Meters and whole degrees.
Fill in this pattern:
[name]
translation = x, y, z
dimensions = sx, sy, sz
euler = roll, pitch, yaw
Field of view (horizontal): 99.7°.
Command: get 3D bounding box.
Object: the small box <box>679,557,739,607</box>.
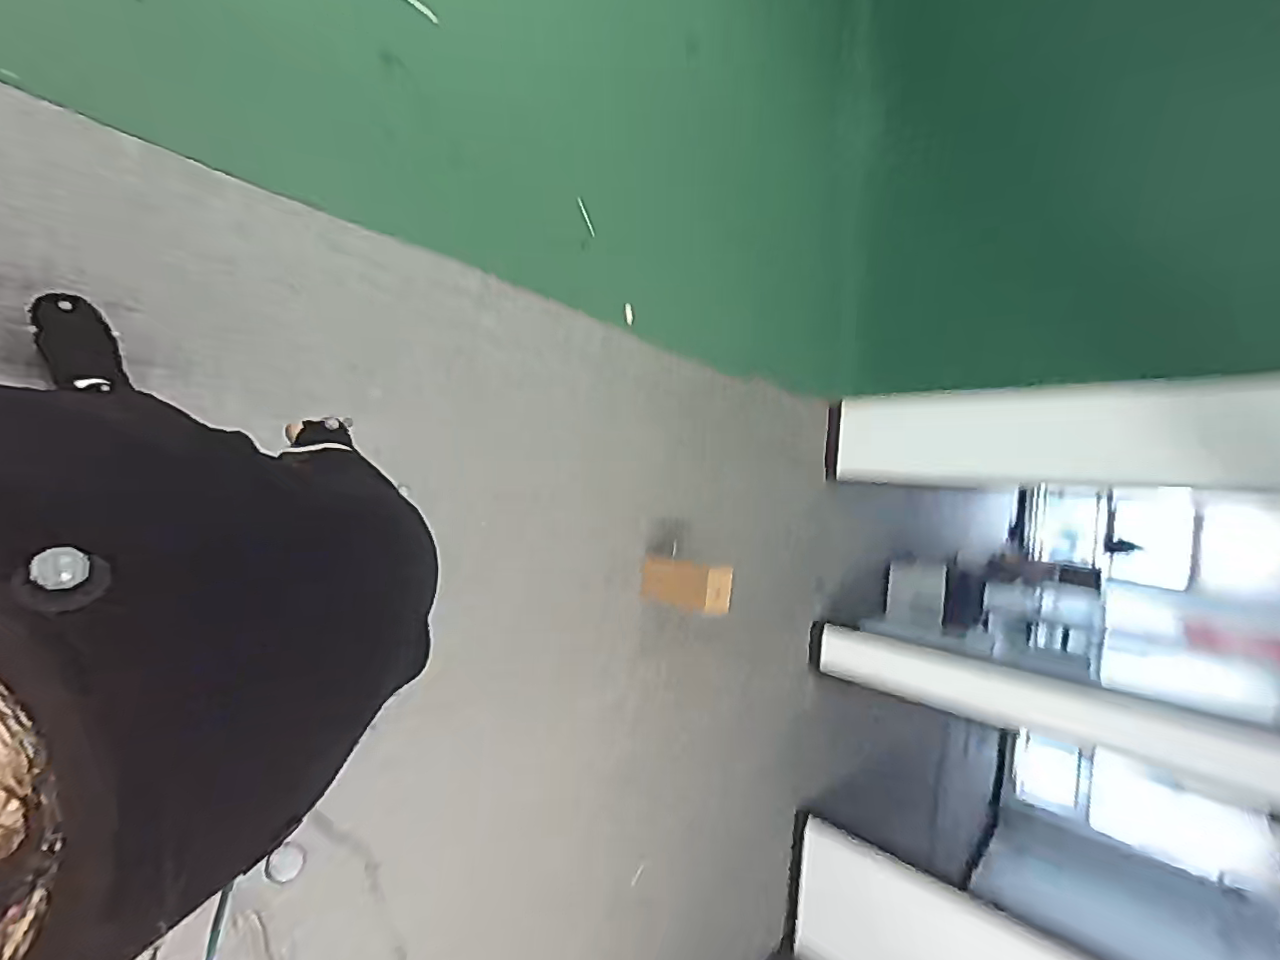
[small box]
translation = 0.272, 0.403, 2.160
dimensions = 0.168, 0.176, 0.179
euler = 10, 86, -45
